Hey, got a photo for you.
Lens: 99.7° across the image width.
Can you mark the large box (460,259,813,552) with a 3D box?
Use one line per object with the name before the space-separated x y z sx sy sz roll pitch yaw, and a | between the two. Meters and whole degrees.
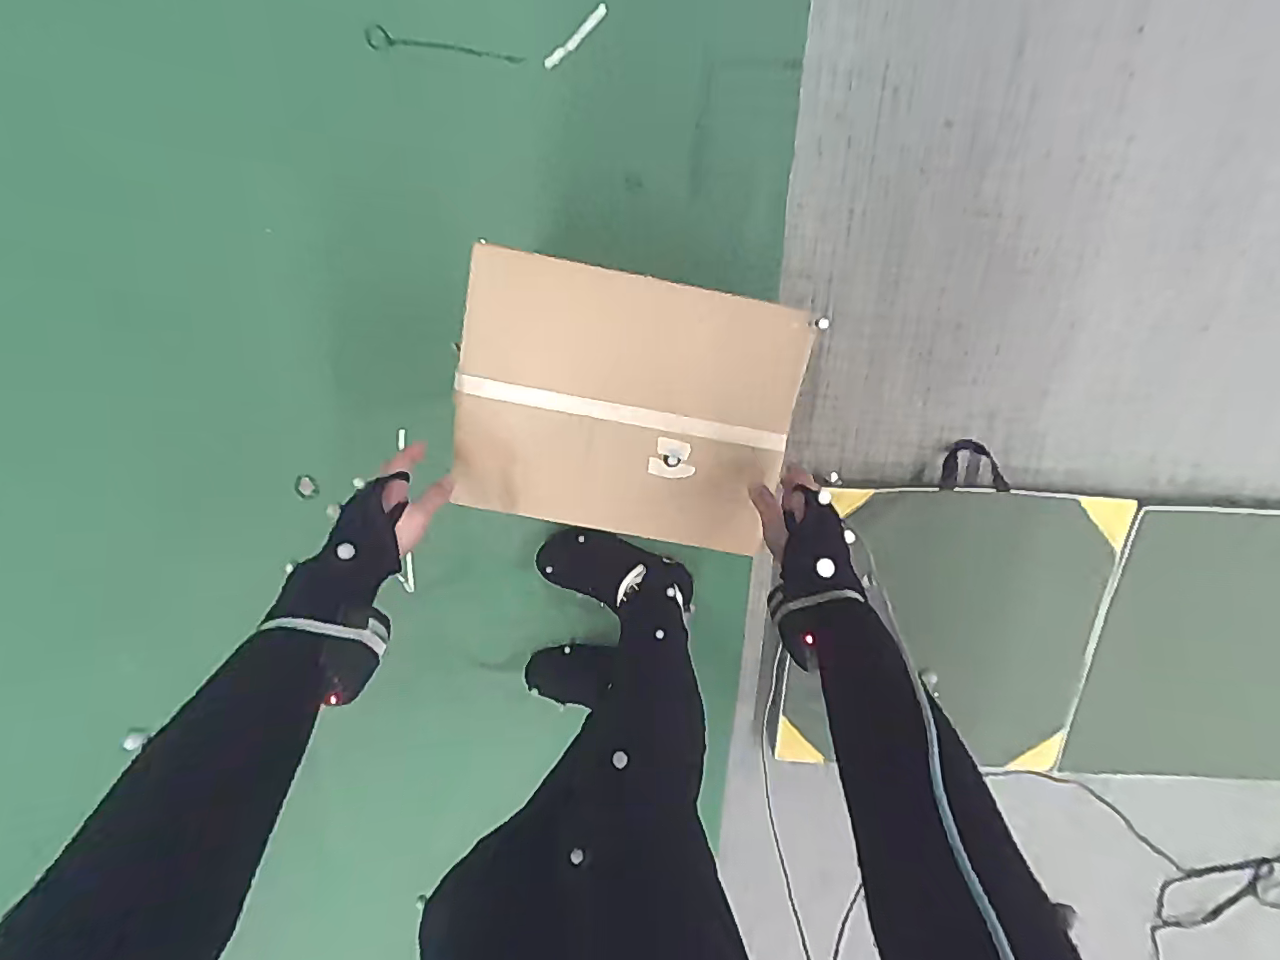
large box | -0.017 -0.116 0.812 0.408 0.320 0.320 10 105 -4
